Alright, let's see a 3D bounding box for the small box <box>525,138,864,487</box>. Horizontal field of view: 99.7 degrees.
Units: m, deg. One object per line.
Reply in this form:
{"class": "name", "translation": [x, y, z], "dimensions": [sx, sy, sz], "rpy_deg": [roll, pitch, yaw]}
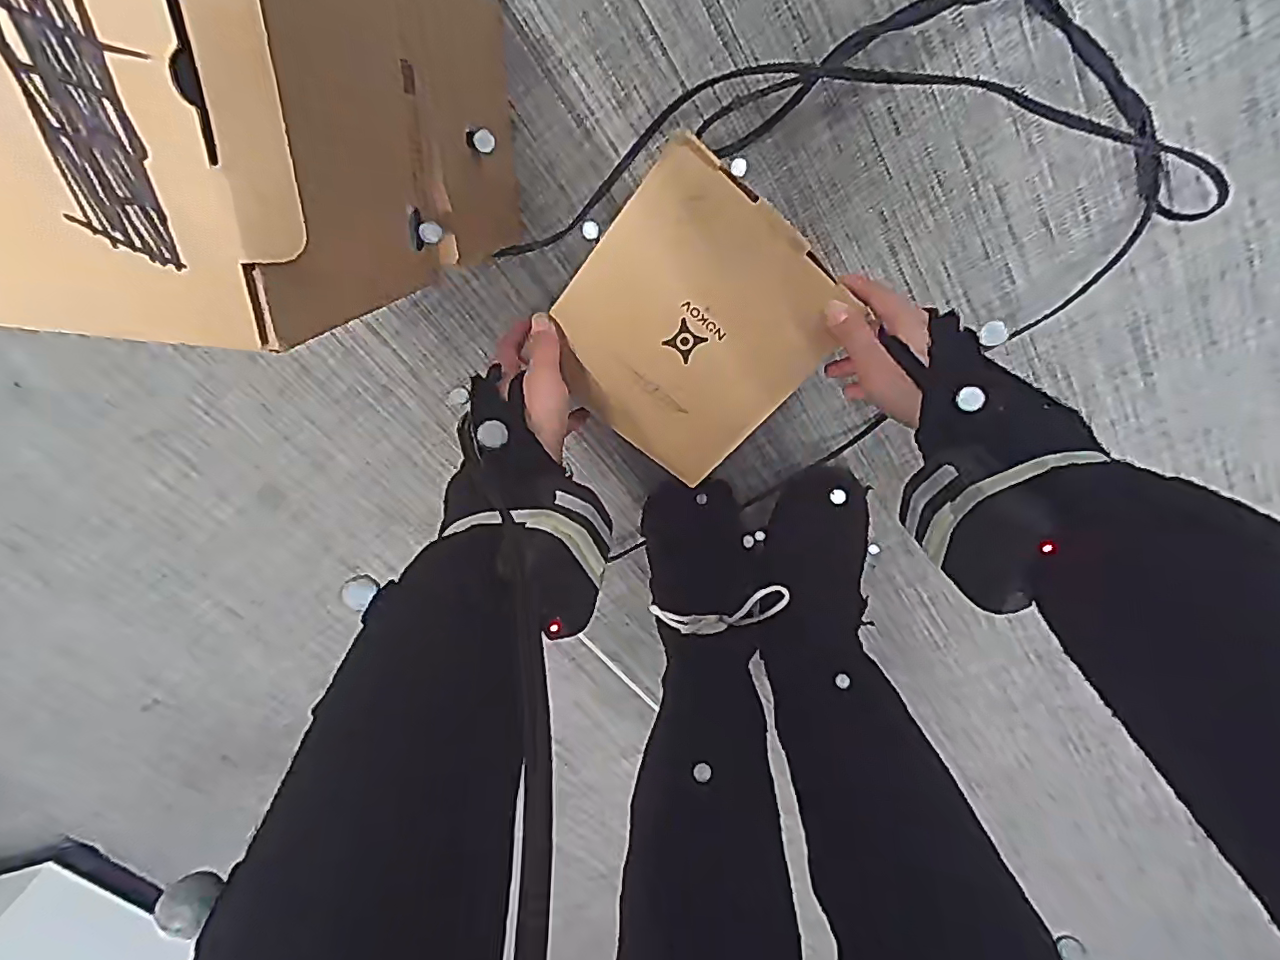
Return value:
{"class": "small box", "translation": [0.036, -0.135, 0.434], "dimensions": [0.168, 0.176, 0.179], "rpy_deg": [35, 116, -16]}

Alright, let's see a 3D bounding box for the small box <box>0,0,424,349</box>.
{"class": "small box", "translation": [-0.210, -0.168, 0.236], "dimensions": [0.179, 0.176, 0.168], "rpy_deg": [6, 118, 1]}

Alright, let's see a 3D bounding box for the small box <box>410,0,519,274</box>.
{"class": "small box", "translation": [-0.190, -0.251, 0.378], "dimensions": [0.168, 0.176, 0.179], "rpy_deg": [1, 119, 3]}
